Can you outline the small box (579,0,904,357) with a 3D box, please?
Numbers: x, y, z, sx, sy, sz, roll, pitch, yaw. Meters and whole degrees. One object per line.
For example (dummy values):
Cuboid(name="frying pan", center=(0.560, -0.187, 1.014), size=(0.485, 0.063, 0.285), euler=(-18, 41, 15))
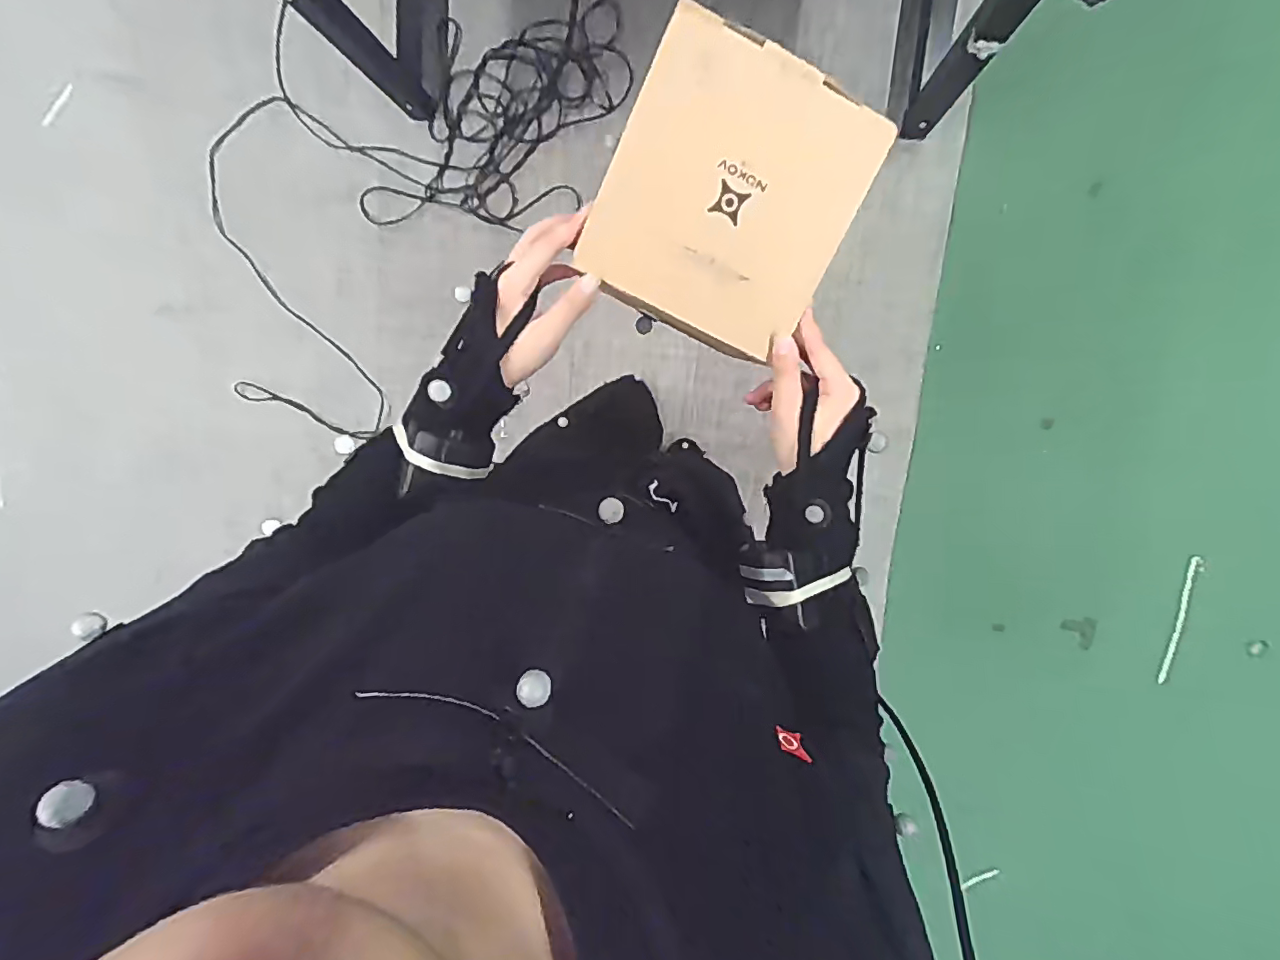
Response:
Cuboid(name="small box", center=(0.061, -0.218, 0.437), size=(0.168, 0.176, 0.179), euler=(25, 104, -9))
